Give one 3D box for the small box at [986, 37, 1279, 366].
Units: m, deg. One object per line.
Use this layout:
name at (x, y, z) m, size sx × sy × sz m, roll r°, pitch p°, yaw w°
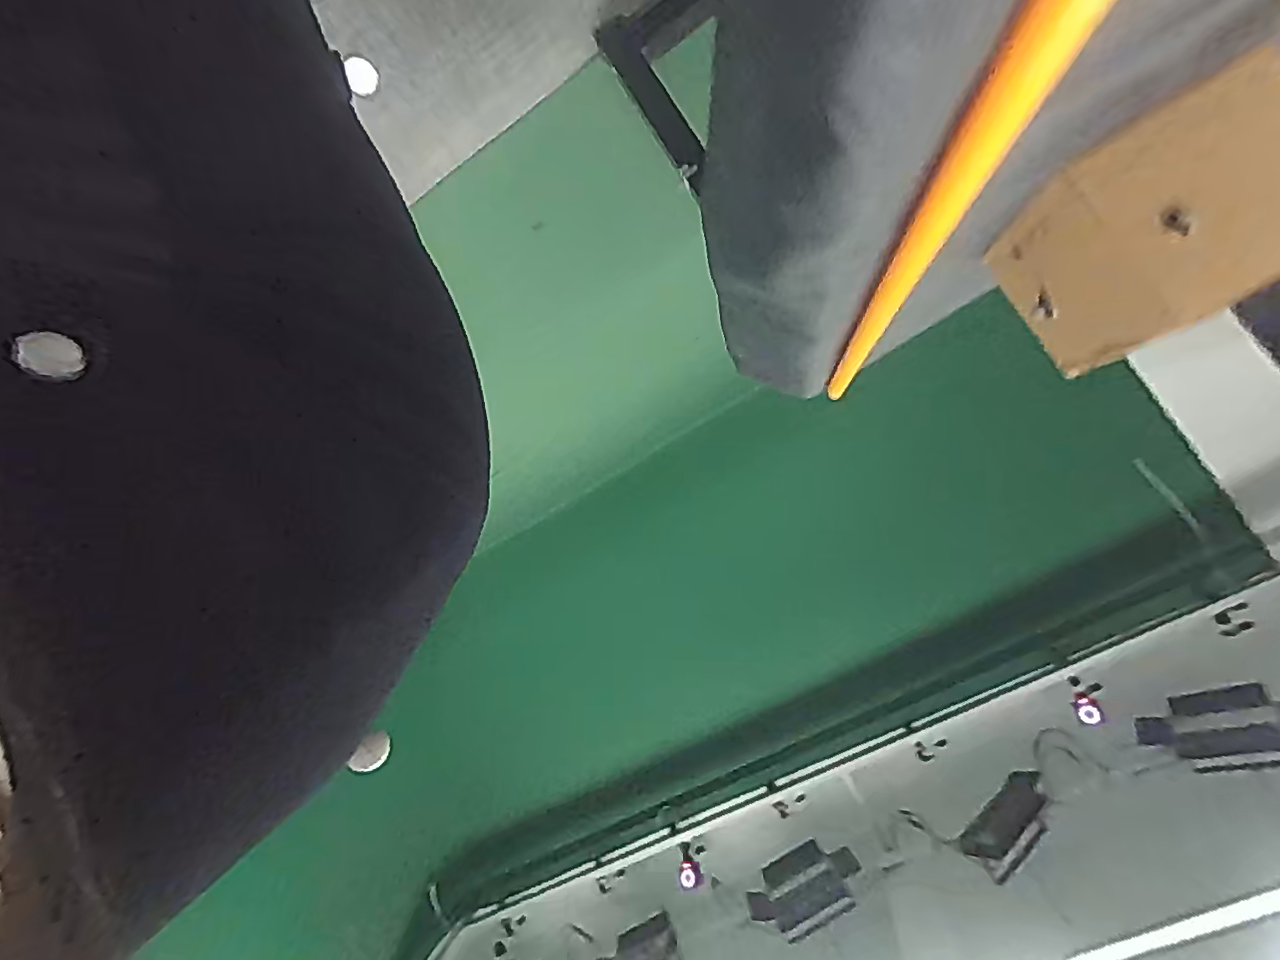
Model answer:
small box at (0.474, -0.240, 0.505) m, size 0.179 × 0.176 × 0.168 m, roll -33°, pitch 172°, yaw 9°
